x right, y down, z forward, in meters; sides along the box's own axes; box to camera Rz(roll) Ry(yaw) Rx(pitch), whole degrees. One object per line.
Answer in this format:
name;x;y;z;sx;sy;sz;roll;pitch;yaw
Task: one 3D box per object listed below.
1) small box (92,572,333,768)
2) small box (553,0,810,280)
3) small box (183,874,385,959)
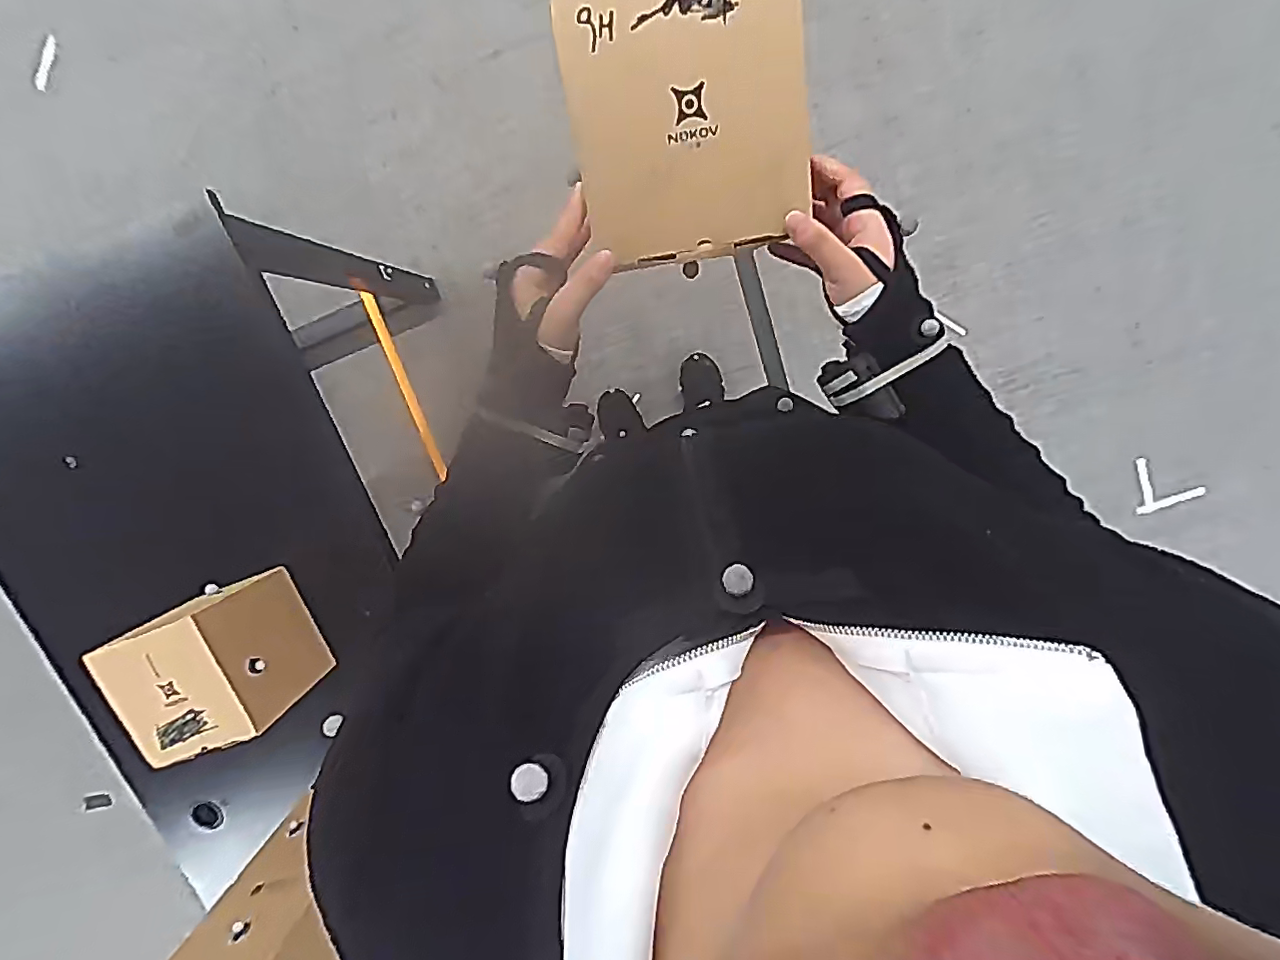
small box;-0.579;0.256;0.761;0.168;0.176;0.179;-20;100;7
small box;0.034;-0.275;0.455;0.168;0.176;0.179;-10;111;1
small box;-0.458;0.632;0.673;0.168;0.176;0.179;-16;102;7
